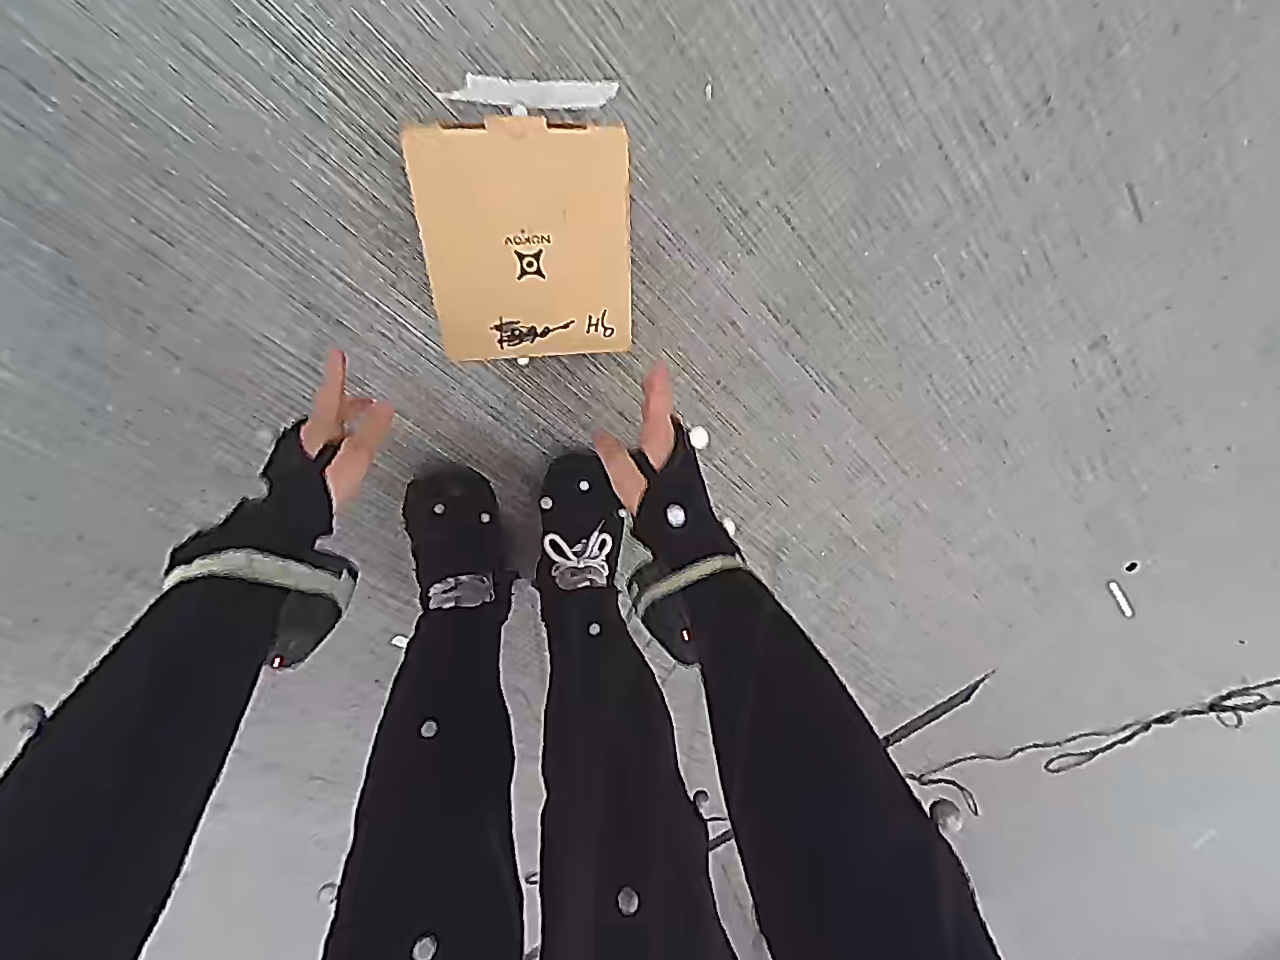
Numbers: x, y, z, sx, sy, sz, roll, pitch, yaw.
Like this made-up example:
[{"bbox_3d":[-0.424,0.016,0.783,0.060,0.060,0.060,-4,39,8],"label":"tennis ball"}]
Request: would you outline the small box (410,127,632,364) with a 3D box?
[{"bbox_3d":[-0.101,-0.223,0.508,0.168,0.176,0.179,-5,122,-8],"label":"small box"}]
